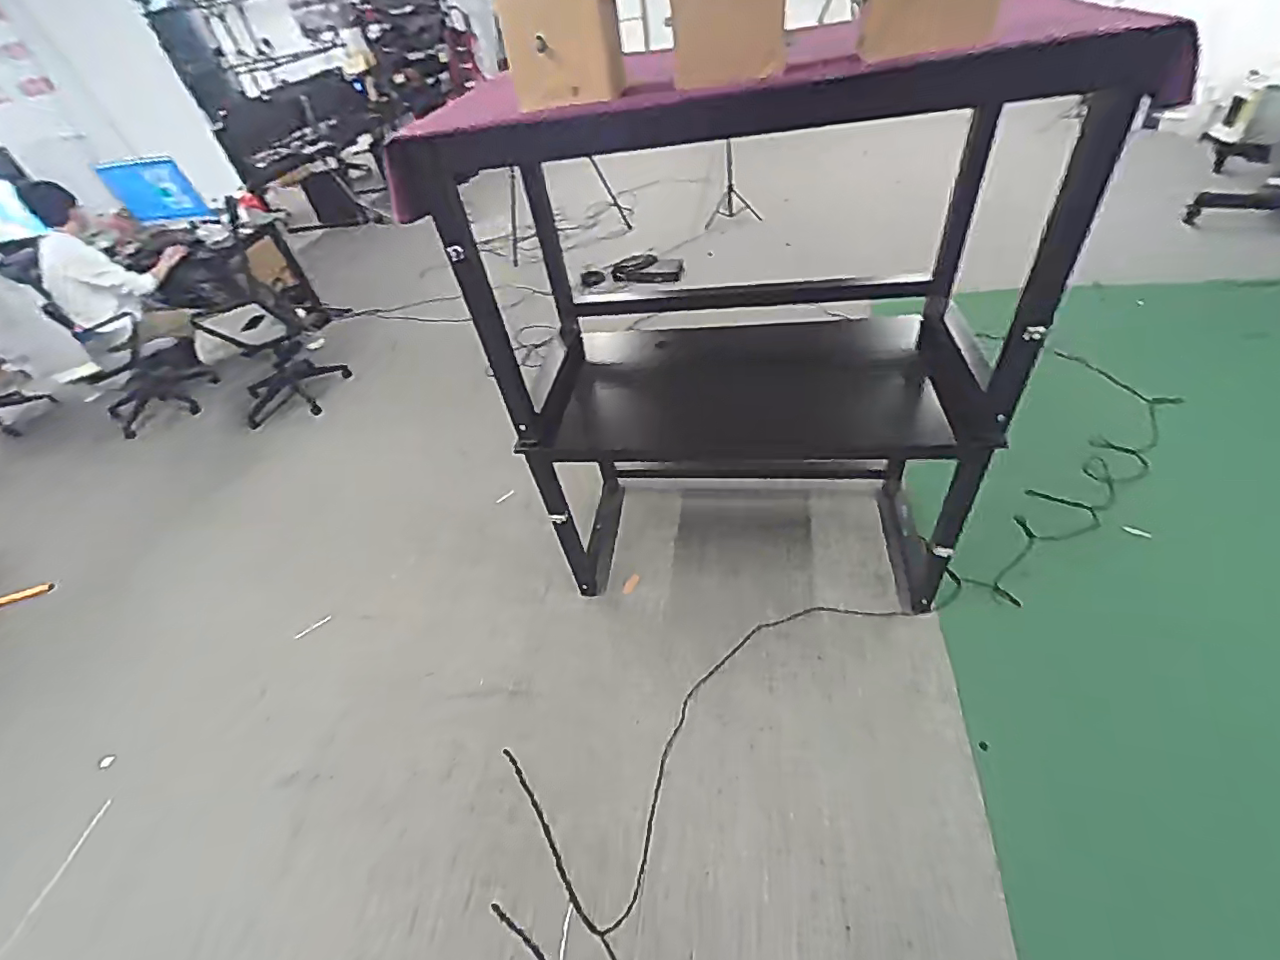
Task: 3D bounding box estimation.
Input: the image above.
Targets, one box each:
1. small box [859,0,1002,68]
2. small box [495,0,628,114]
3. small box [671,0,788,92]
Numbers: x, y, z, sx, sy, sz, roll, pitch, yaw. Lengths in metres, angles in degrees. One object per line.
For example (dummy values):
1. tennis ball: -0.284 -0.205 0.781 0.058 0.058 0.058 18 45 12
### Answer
1. small box: 0.431 -0.742 0.807 0.179 0.176 0.168 -1 45 13
2. small box: -0.122 -0.746 0.927 0.168 0.176 0.179 0 43 11
3. small box: 0.147 -0.746 0.872 0.179 0.176 0.168 1 44 12
